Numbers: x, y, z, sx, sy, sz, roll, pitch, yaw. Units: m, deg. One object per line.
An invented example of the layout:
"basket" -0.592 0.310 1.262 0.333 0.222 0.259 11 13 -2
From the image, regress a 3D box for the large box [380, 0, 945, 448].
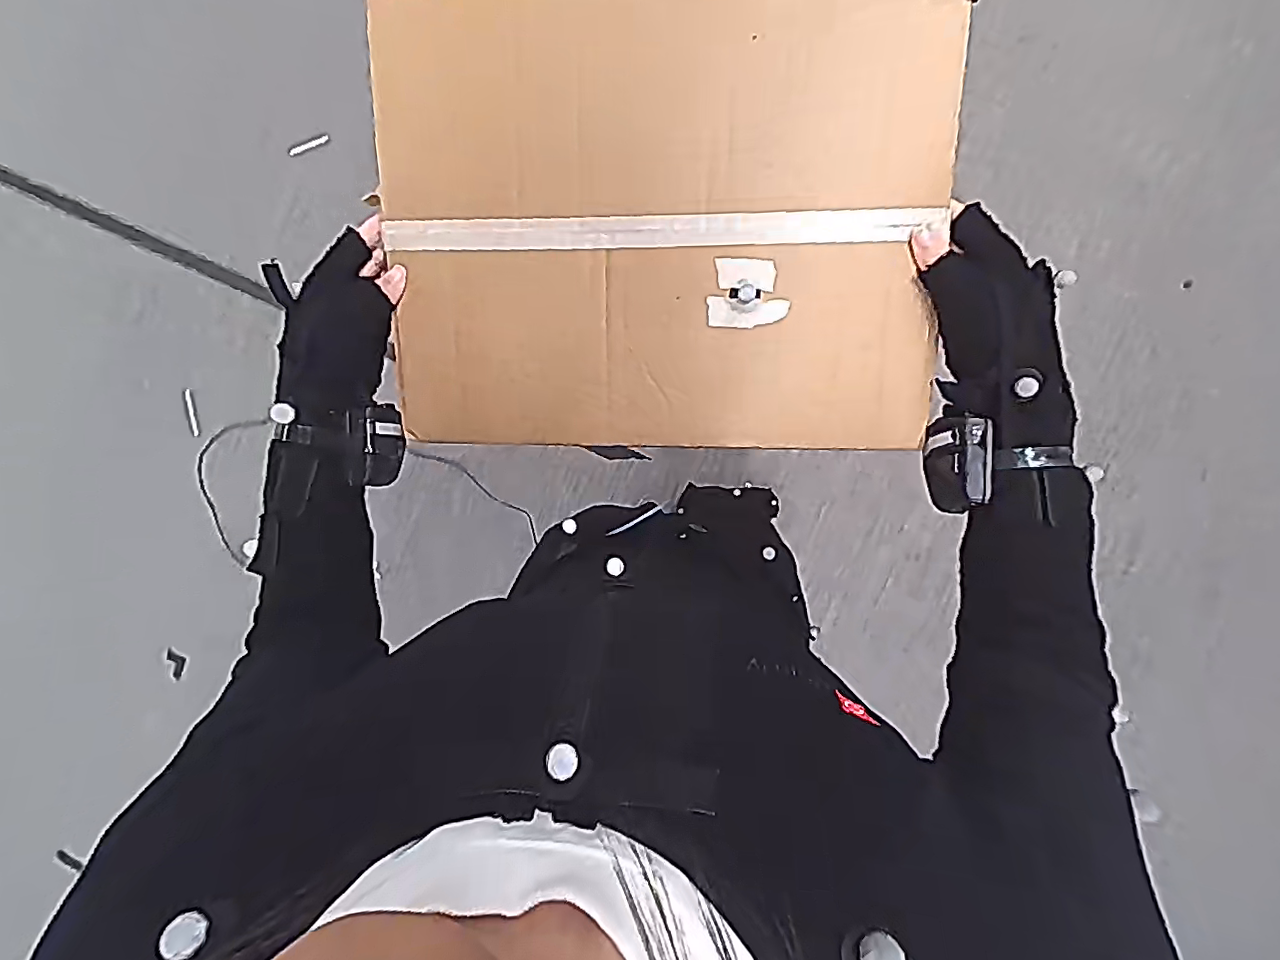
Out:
"large box" 0.020 -0.209 0.550 0.408 0.320 0.320 0 102 4
